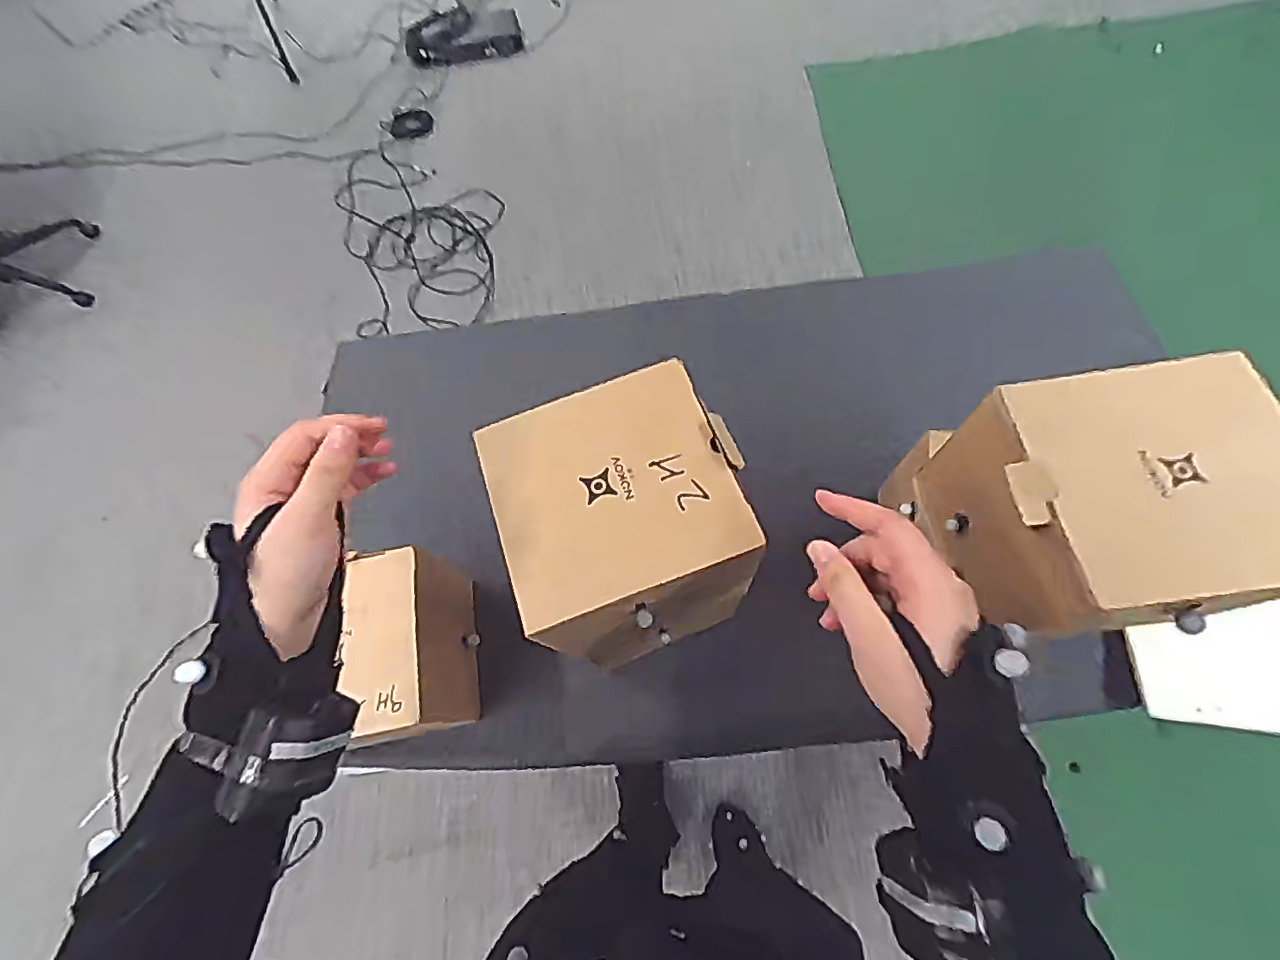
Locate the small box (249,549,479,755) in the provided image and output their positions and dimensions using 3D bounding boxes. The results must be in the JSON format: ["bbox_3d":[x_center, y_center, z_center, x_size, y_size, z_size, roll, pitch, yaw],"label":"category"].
[{"bbox_3d":[-0.293,0.197,0.611,0.168,0.176,0.179,-12,66,1],"label":"small box"}]

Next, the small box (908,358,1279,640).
[{"bbox_3d":[0.354,0.028,0.439,0.179,0.176,0.168,-9,66,3],"label":"small box"}]

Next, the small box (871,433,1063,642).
[{"bbox_3d":[0.364,0.070,0.598,0.168,0.176,0.179,7,68,9],"label":"small box"}]

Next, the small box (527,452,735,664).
[{"bbox_3d":[-0.006,0.100,0.627,0.179,0.176,0.168,-23,67,-5],"label":"small box"}]
